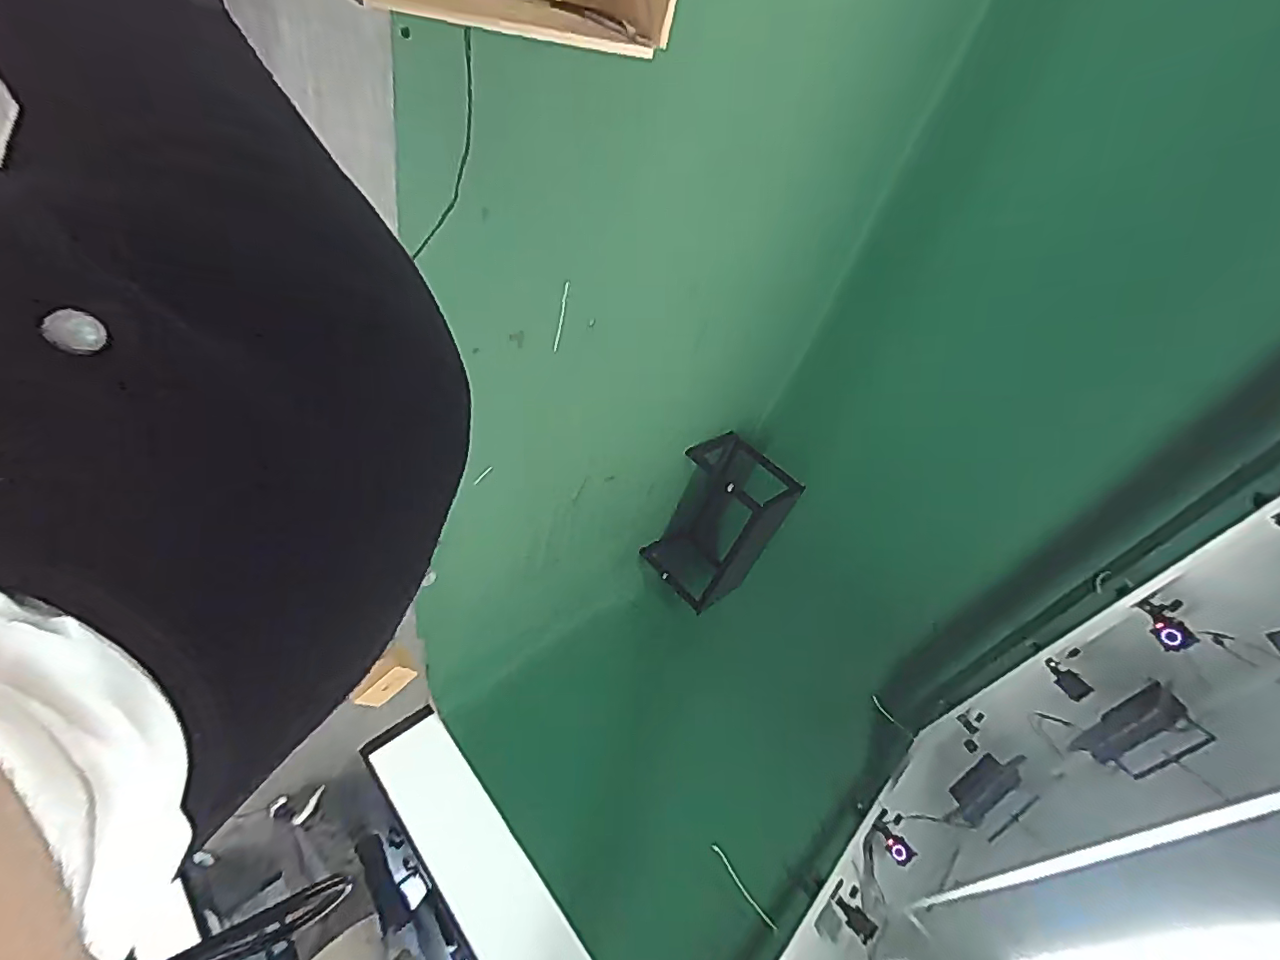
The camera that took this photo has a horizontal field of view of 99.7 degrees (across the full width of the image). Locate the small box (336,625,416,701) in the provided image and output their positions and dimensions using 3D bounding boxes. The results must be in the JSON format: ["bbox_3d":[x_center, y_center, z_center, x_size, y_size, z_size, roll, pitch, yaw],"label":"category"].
[{"bbox_3d":[-0.938,0.646,1.907,0.179,0.176,0.168,-41,156,-13],"label":"small box"}]
